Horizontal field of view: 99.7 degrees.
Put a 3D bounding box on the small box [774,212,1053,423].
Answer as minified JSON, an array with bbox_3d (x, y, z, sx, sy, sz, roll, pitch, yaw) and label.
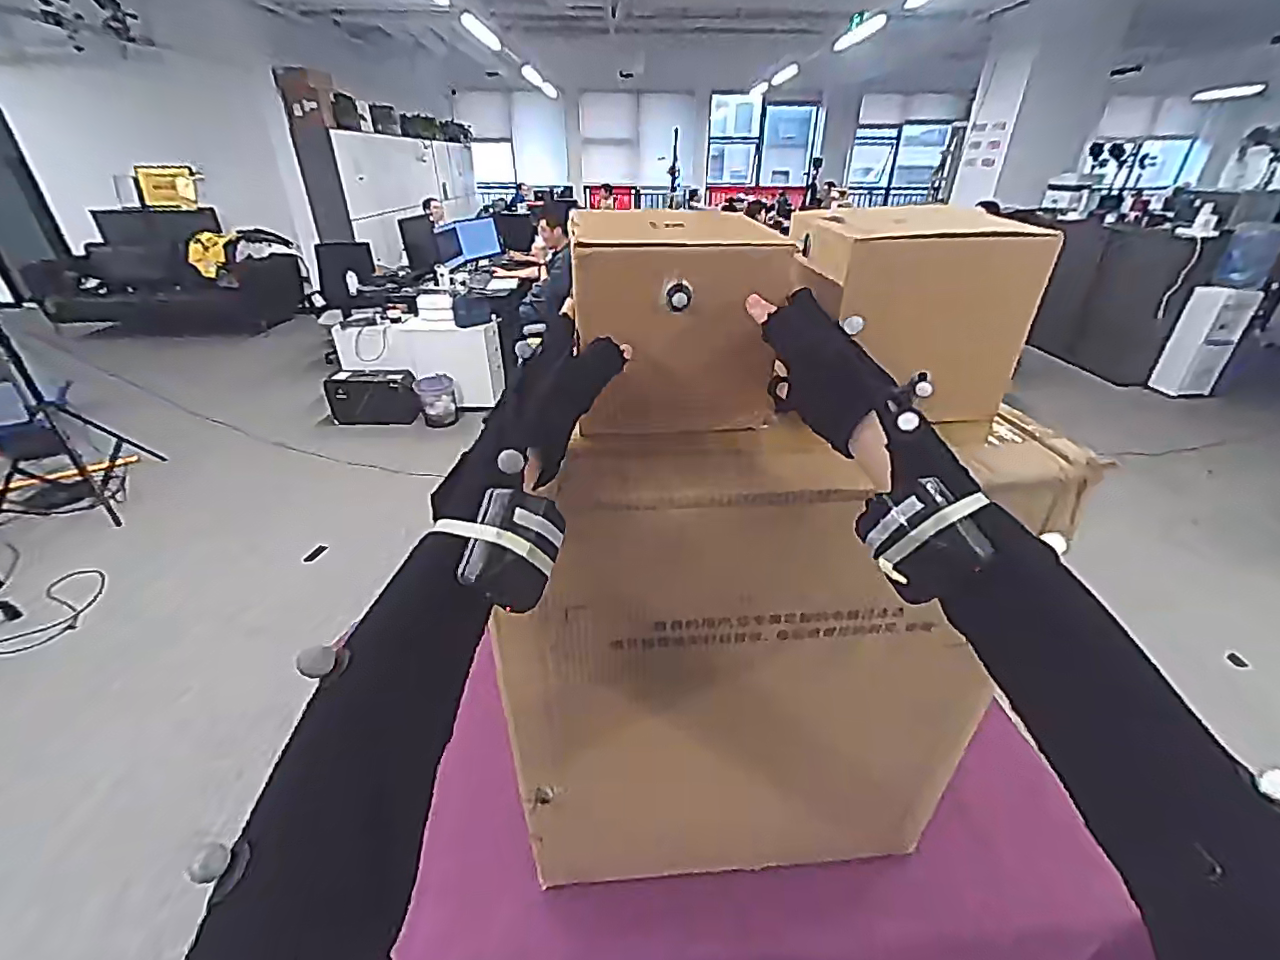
[{"bbox_3d":[0.248,-0.166,0.544,0.179,0.176,0.168,-2,31,-2],"label":"small box"}]
